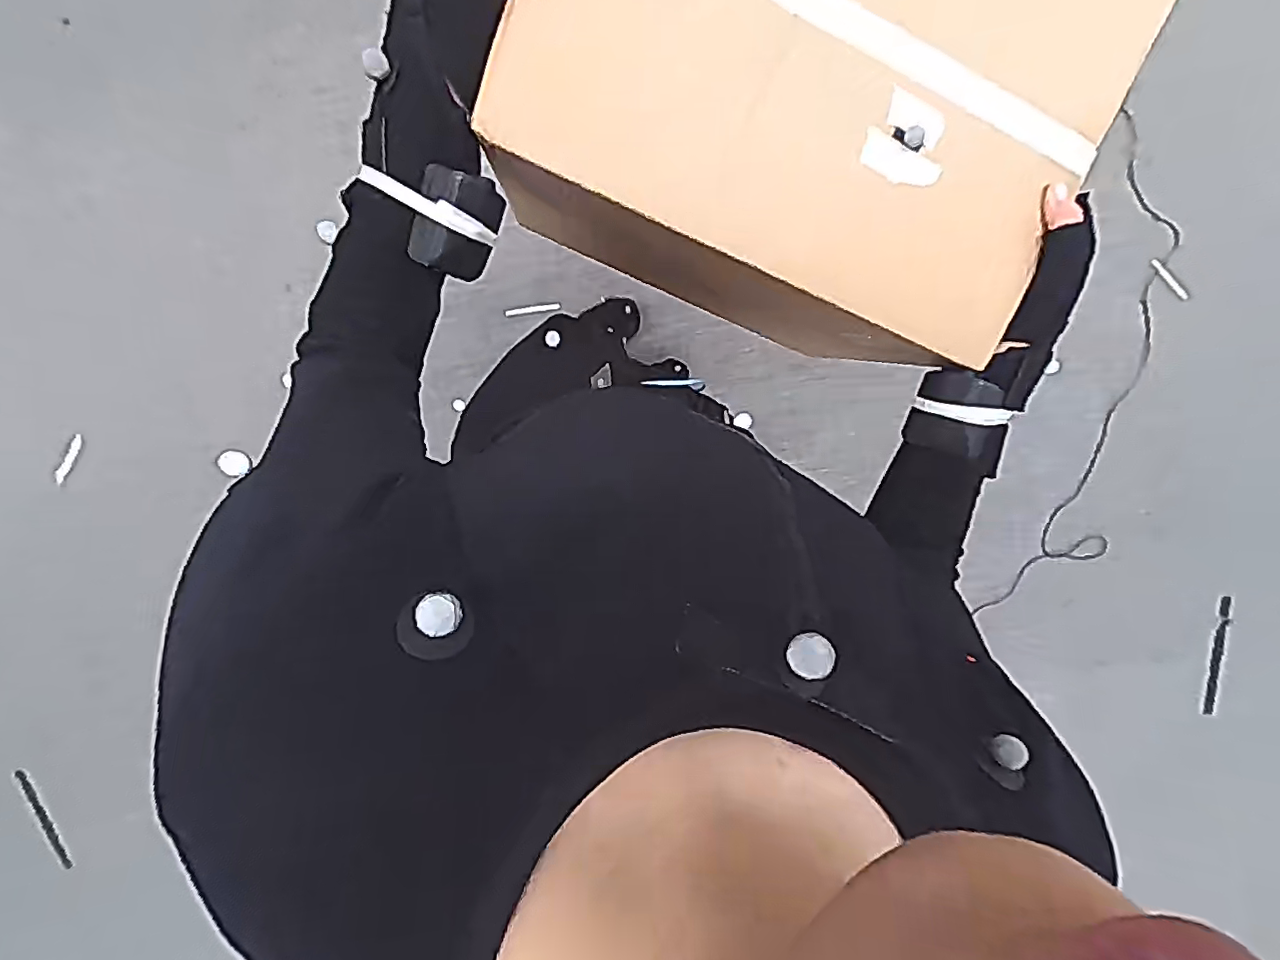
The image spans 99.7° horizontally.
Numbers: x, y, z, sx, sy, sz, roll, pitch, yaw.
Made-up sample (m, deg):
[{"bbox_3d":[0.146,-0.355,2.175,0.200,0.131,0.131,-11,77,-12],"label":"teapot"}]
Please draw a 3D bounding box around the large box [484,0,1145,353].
[{"bbox_3d":[0.111,-0.338,0.502,0.408,0.320,0.320,19,103,-13],"label":"large box"}]
